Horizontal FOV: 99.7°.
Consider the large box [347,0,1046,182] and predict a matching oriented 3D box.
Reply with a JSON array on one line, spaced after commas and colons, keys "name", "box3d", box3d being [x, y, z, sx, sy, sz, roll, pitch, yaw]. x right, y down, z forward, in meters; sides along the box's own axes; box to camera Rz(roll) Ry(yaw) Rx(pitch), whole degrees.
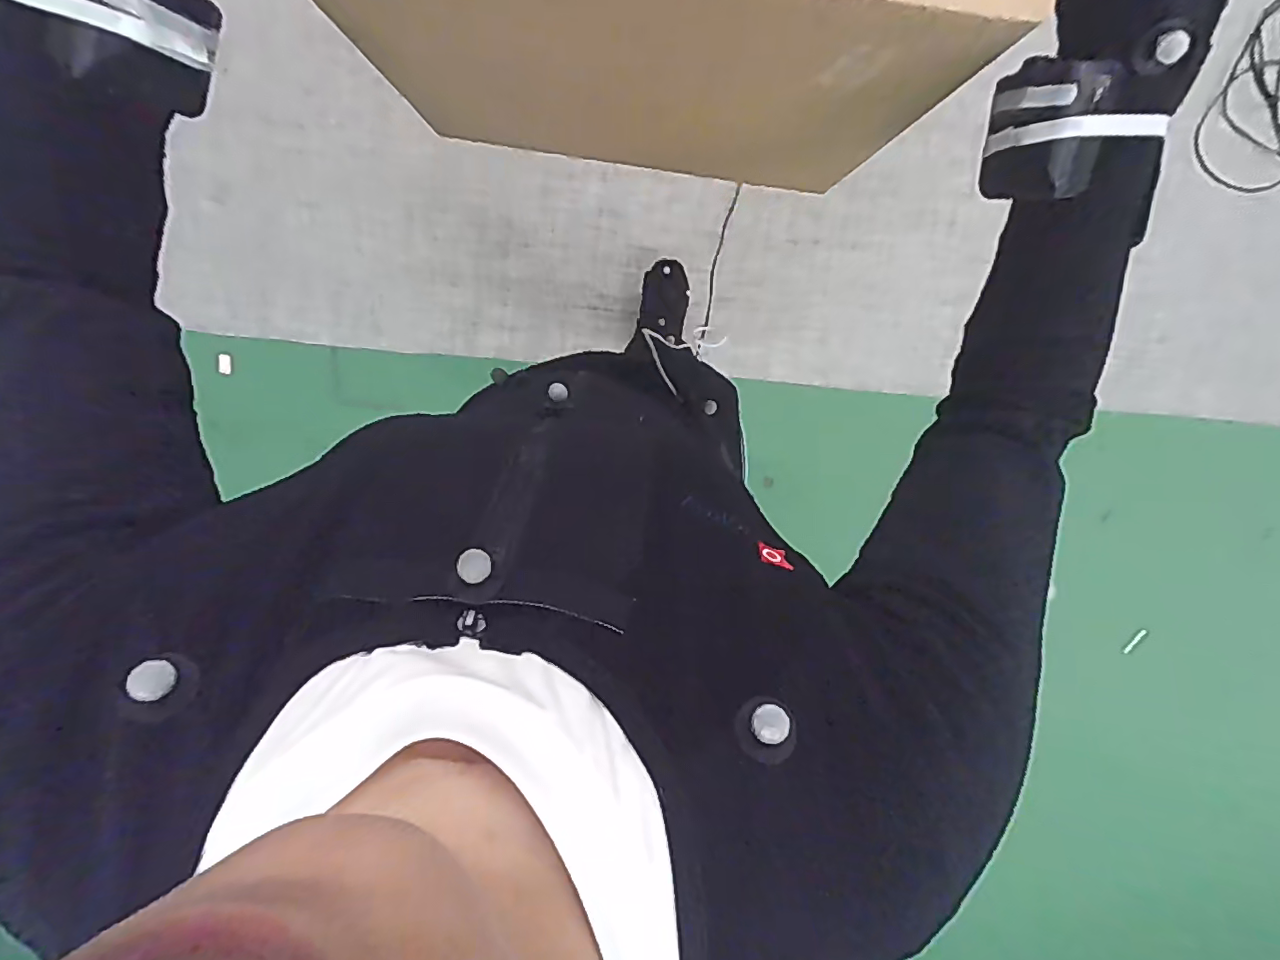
[{"name": "large box", "box3d": [0.023, -0.440, 0.377, 0.408, 0.320, 0.320, 6, 104, -4]}]
